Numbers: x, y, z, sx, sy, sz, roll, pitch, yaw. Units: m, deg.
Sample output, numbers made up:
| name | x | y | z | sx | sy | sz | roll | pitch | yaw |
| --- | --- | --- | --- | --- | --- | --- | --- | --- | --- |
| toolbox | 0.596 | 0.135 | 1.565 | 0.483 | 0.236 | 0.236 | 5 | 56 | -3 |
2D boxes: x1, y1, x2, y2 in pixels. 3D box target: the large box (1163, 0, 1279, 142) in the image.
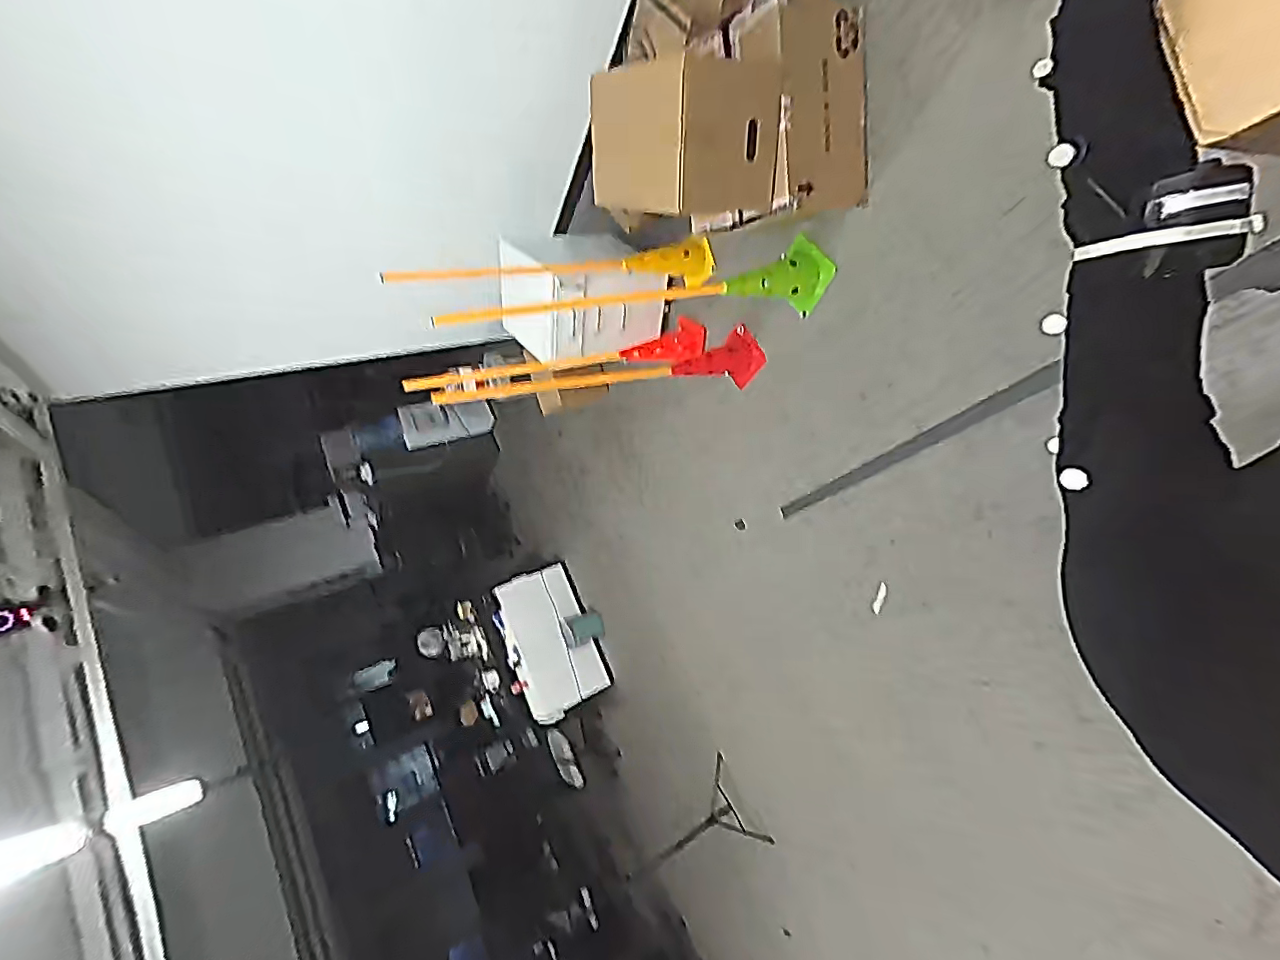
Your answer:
| name | x | y | z | sx | sy | sz | roll | pitch | yaw |
| --- | --- | --- | --- | --- | --- | --- | --- | --- | --- |
| large box | 0.547 | -0.439 | 0.258 | 0.408 | 0.320 | 0.320 | -18 | 87 | 62 |
